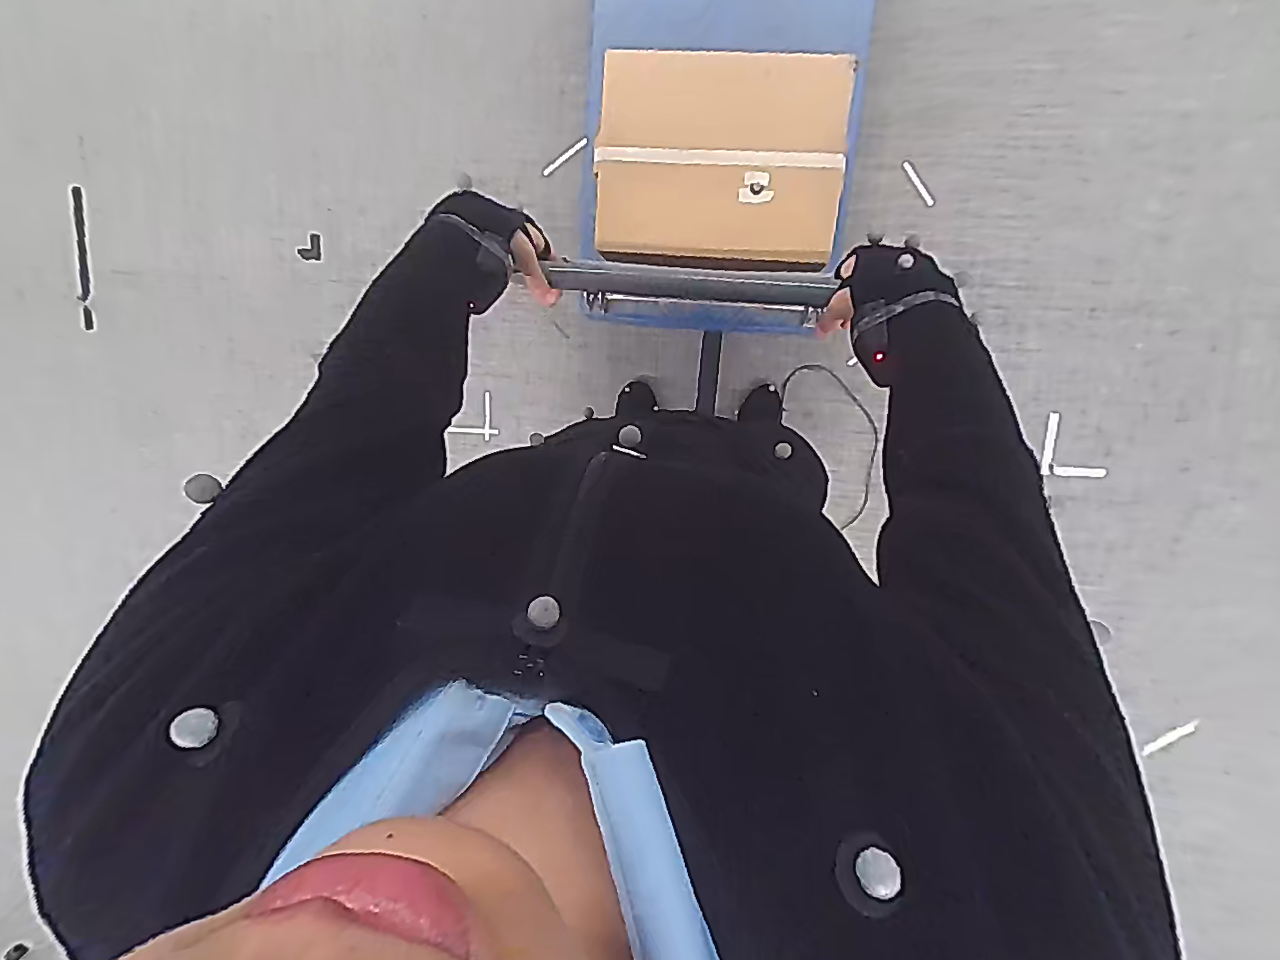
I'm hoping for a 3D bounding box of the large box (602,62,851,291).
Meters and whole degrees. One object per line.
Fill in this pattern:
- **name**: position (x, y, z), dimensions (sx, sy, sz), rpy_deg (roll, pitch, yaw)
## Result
- **large box**: position (0.148, -0.560, 1.058), dimensions (0.408, 0.320, 0.320), rpy_deg (5, 102, 5)
